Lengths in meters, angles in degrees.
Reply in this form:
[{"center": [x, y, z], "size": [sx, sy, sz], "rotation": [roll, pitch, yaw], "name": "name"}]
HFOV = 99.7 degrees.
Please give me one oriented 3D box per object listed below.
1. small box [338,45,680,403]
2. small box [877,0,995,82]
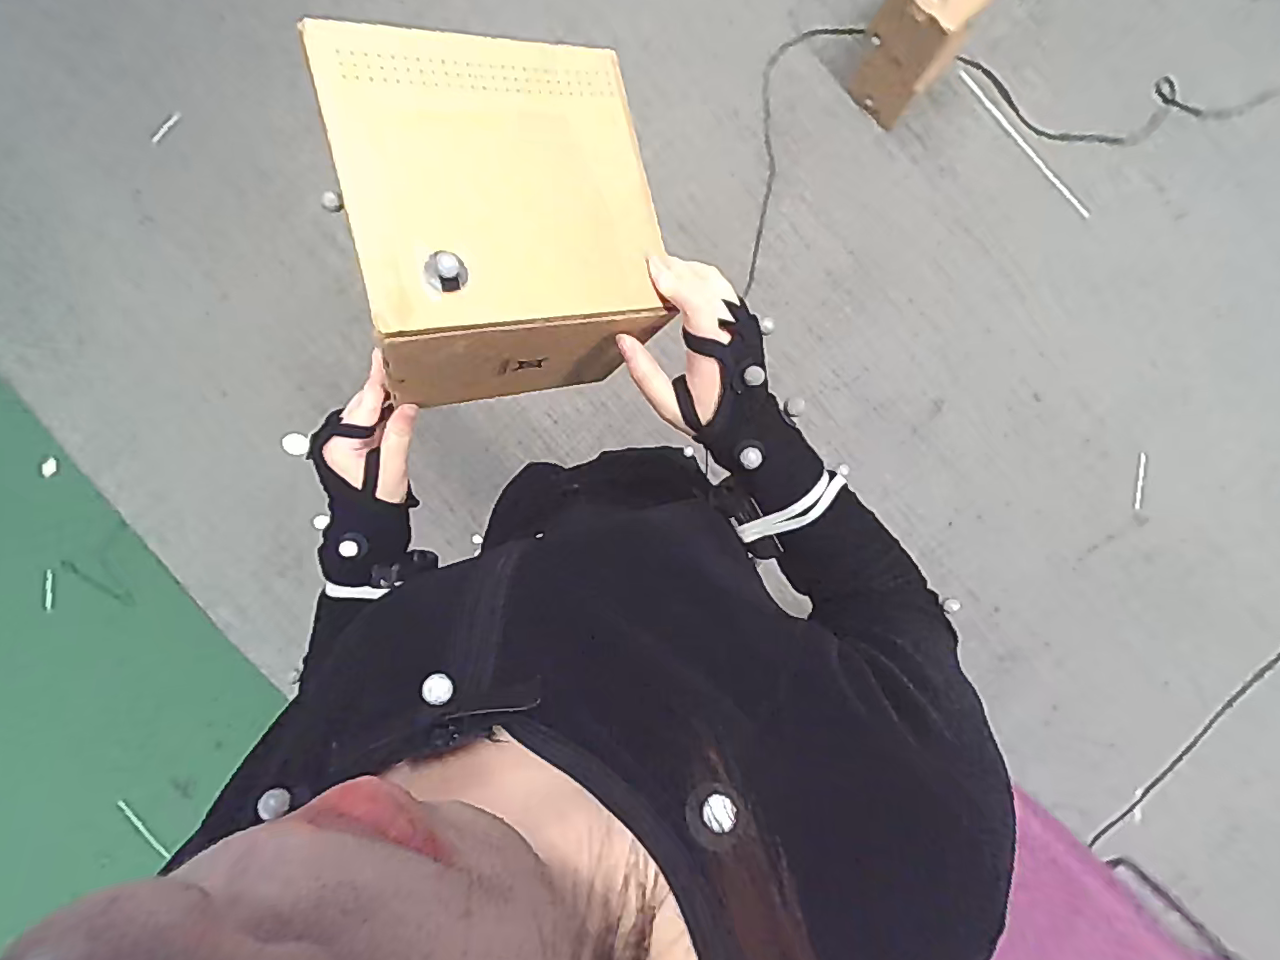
[{"center": [-0.096, -0.163, 0.389], "size": [0.179, 0.168, 0.176], "rotation": [-10, 88, -22], "name": "small box"}, {"center": [0.622, -0.989, 1.120], "size": [0.168, 0.176, 0.179], "rotation": [45, 96, 0], "name": "small box"}]
